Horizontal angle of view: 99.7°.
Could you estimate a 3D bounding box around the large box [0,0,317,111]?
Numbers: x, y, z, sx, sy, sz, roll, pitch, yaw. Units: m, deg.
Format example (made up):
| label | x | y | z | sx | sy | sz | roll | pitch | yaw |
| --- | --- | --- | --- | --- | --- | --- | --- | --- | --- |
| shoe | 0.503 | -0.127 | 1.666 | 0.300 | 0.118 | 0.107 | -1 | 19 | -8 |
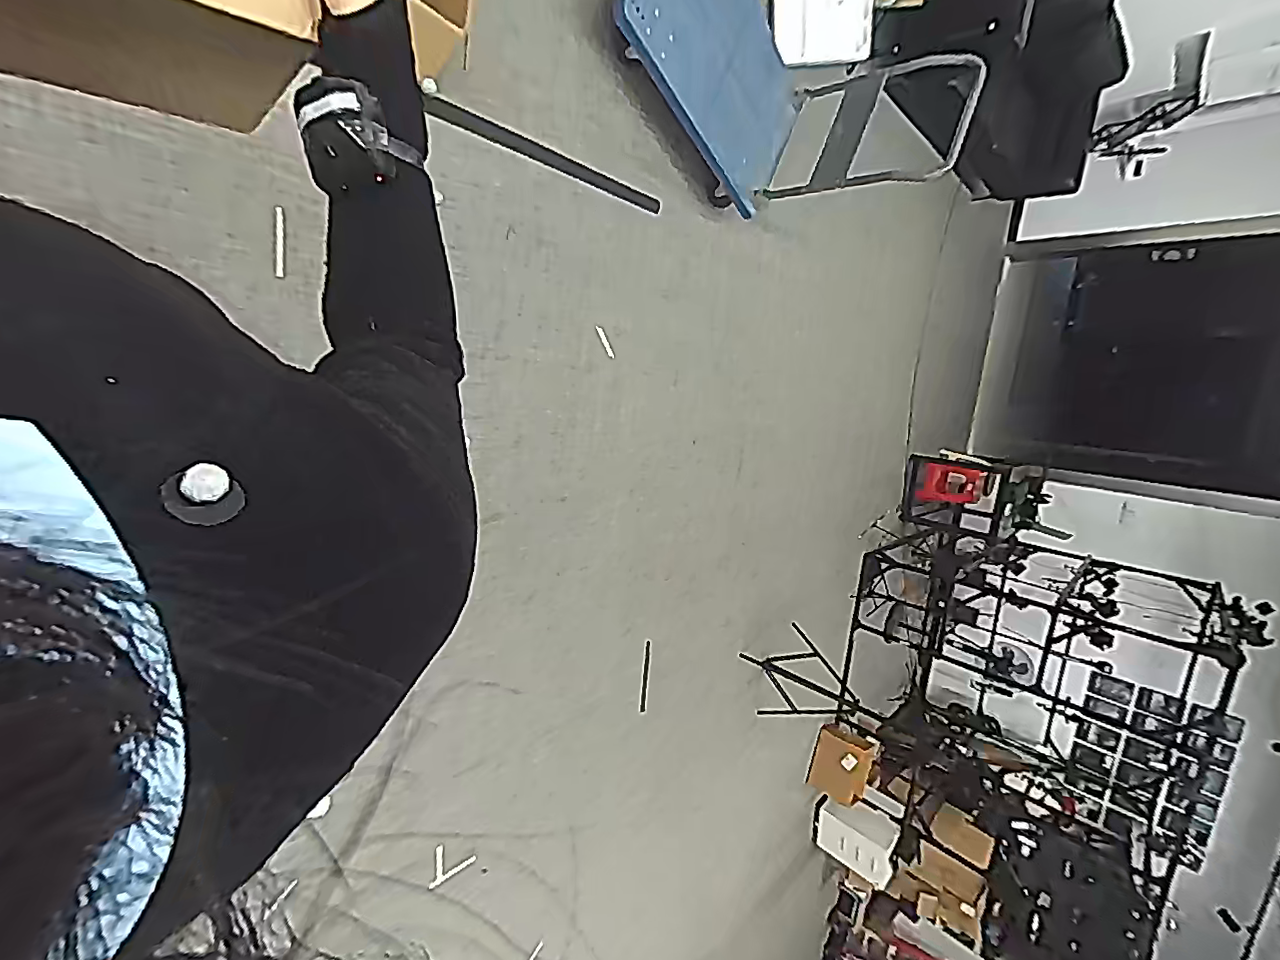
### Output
| label | x | y | z | sx | sy | sz | roll | pitch | yaw |
| --- | --- | --- | --- | --- | --- | --- | --- | --- | --- |
| large box | -0.471 | -0.485 | 0.331 | 0.408 | 0.320 | 0.320 | -10 | 110 | -41 |
